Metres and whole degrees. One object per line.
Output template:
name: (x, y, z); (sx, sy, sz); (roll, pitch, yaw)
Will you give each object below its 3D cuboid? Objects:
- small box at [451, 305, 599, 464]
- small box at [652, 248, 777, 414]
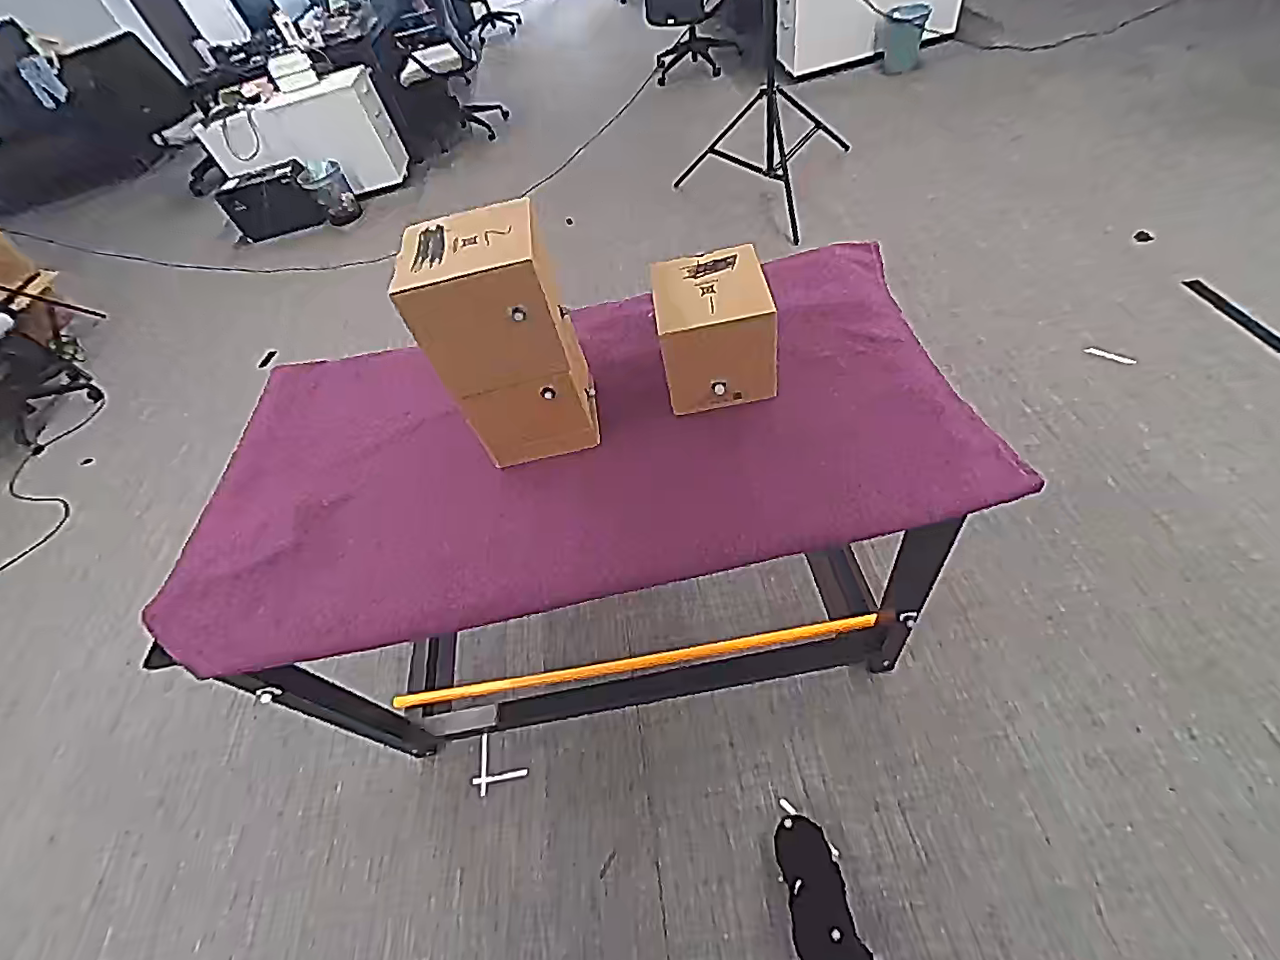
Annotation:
small box: (-0.175, -0.146, 0.862); (0.179, 0.176, 0.168); (-12, 51, 4)
small box: (0.116, -0.231, 0.855); (0.168, 0.176, 0.179); (-10, 52, 7)
